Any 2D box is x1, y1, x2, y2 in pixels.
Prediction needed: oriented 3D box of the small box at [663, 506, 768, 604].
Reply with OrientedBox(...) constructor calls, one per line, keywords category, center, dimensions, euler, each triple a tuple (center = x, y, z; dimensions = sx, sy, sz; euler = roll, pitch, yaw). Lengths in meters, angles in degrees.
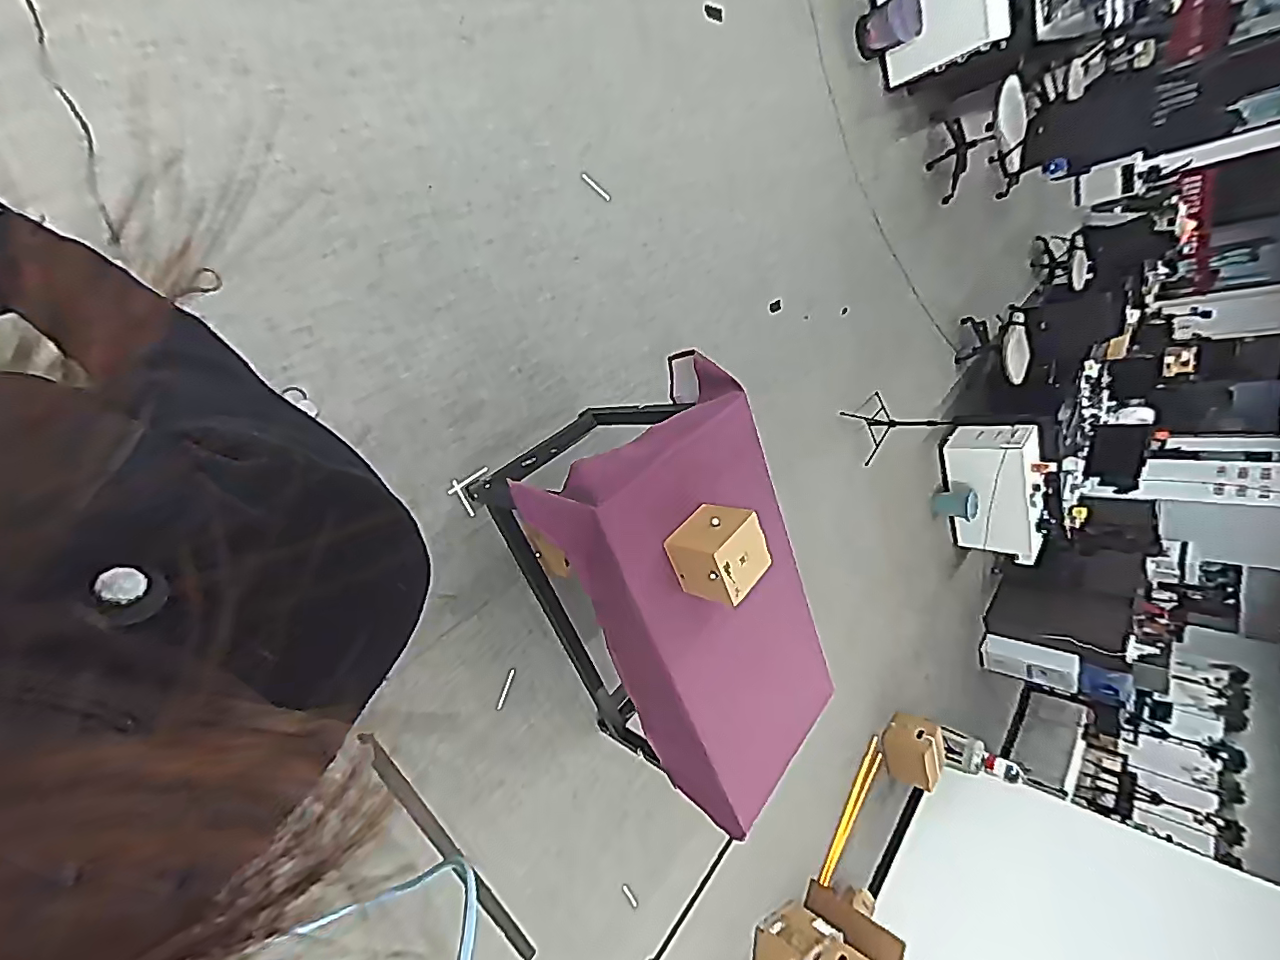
OrientedBox(category="small box", center=(0.189, 0.179, 1.360), dimensions=(0.179, 0.176, 0.168), euler=(-41, 119, -33))
